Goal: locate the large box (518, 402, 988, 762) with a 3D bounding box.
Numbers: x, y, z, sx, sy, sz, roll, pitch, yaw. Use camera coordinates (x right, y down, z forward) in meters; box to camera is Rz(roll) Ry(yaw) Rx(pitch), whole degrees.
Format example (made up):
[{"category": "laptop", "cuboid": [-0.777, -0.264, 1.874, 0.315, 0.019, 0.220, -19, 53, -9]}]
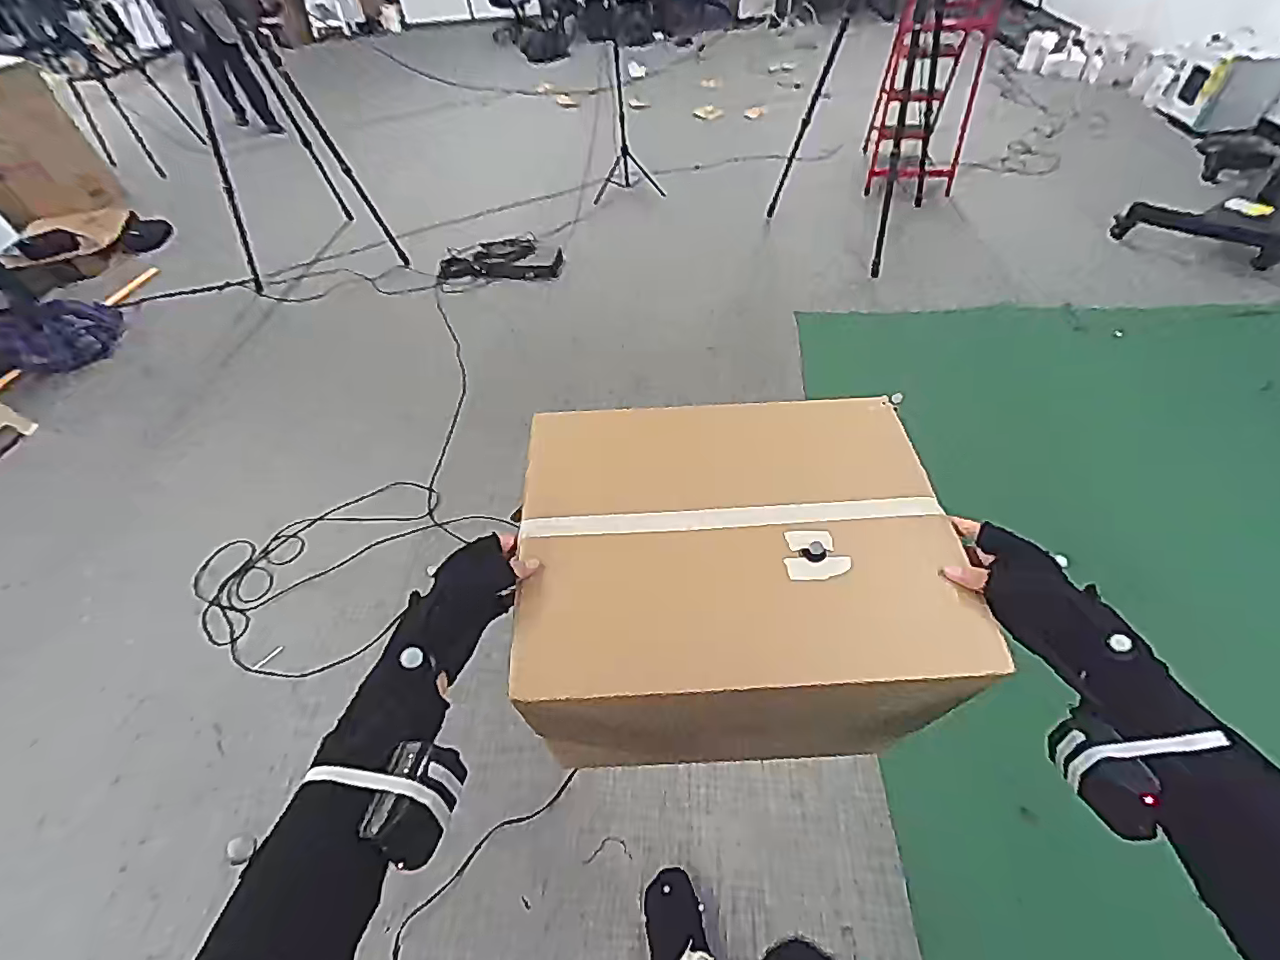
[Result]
[{"category": "large box", "cuboid": [0.088, 0.131, 0.652, 0.408, 0.320, 0.320, -3, 54, -1]}]
